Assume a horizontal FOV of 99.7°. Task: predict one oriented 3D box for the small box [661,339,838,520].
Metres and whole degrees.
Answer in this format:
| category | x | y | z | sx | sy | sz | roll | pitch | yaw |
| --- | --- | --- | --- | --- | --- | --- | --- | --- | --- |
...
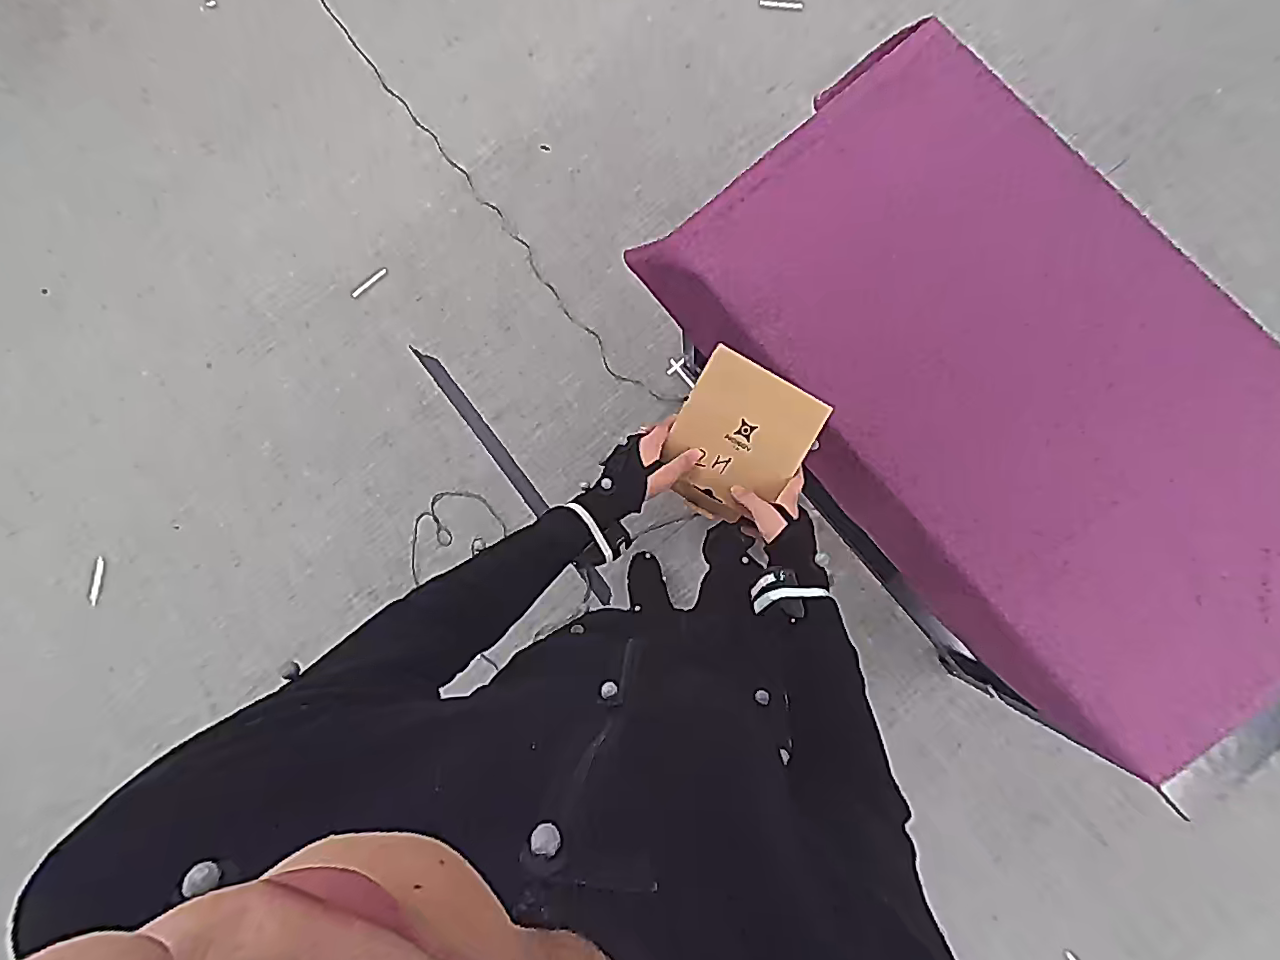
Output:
| category | x | y | z | sx | sy | sz | roll | pitch | yaw |
| --- | --- | --- | --- | --- | --- | --- | --- | --- | --- |
| small box | 0.138 | -0.068 | 0.758 | 0.168 | 0.176 | 0.179 | 31 | 94 | 0 |
